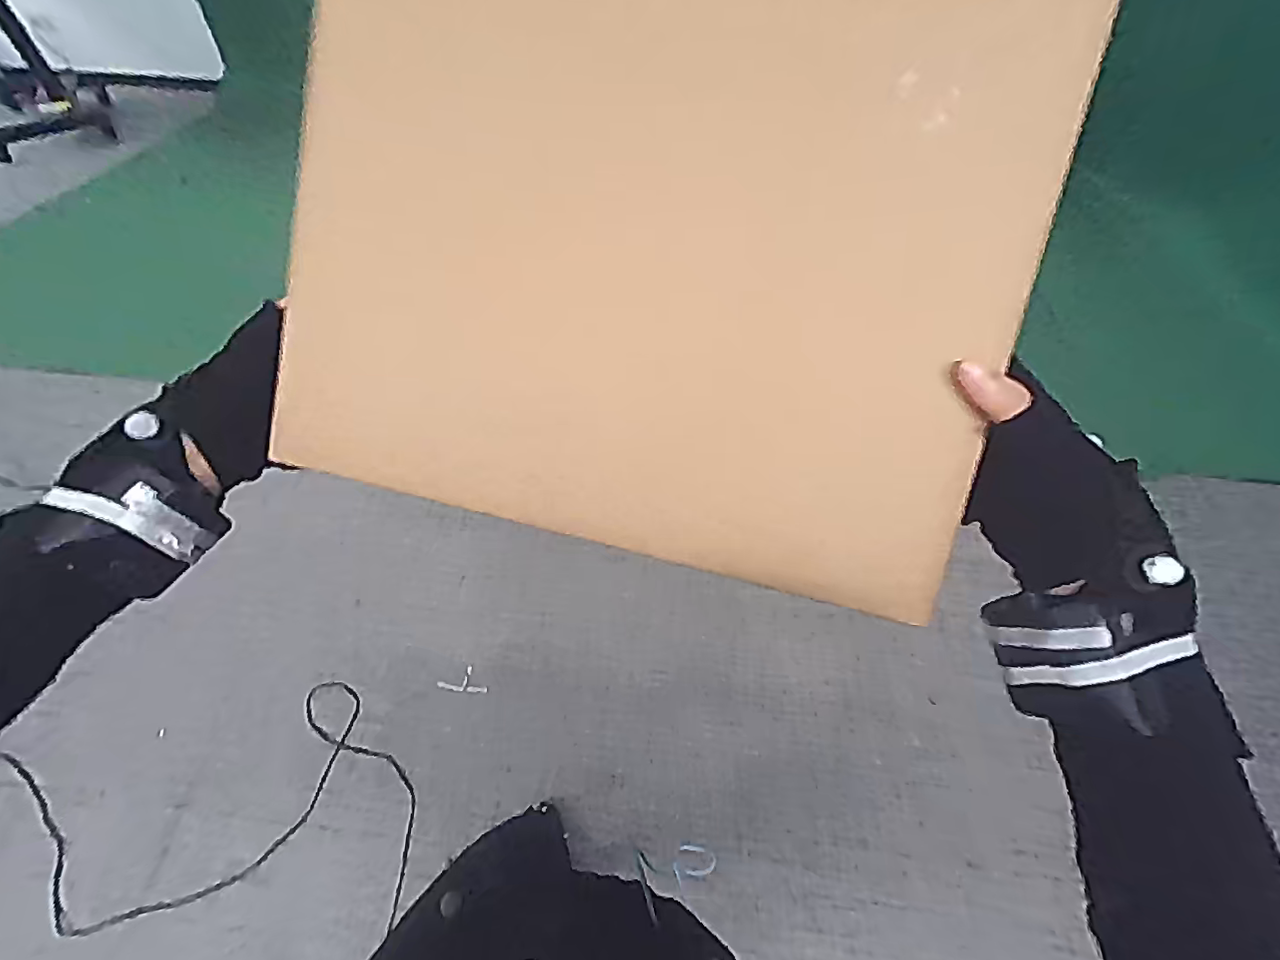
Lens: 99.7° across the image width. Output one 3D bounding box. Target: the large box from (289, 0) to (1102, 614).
[{"bbox_3d":[0.017,-0.132,0.442,0.408,0.320,0.320,14,11,9],"label":"large box"}]
